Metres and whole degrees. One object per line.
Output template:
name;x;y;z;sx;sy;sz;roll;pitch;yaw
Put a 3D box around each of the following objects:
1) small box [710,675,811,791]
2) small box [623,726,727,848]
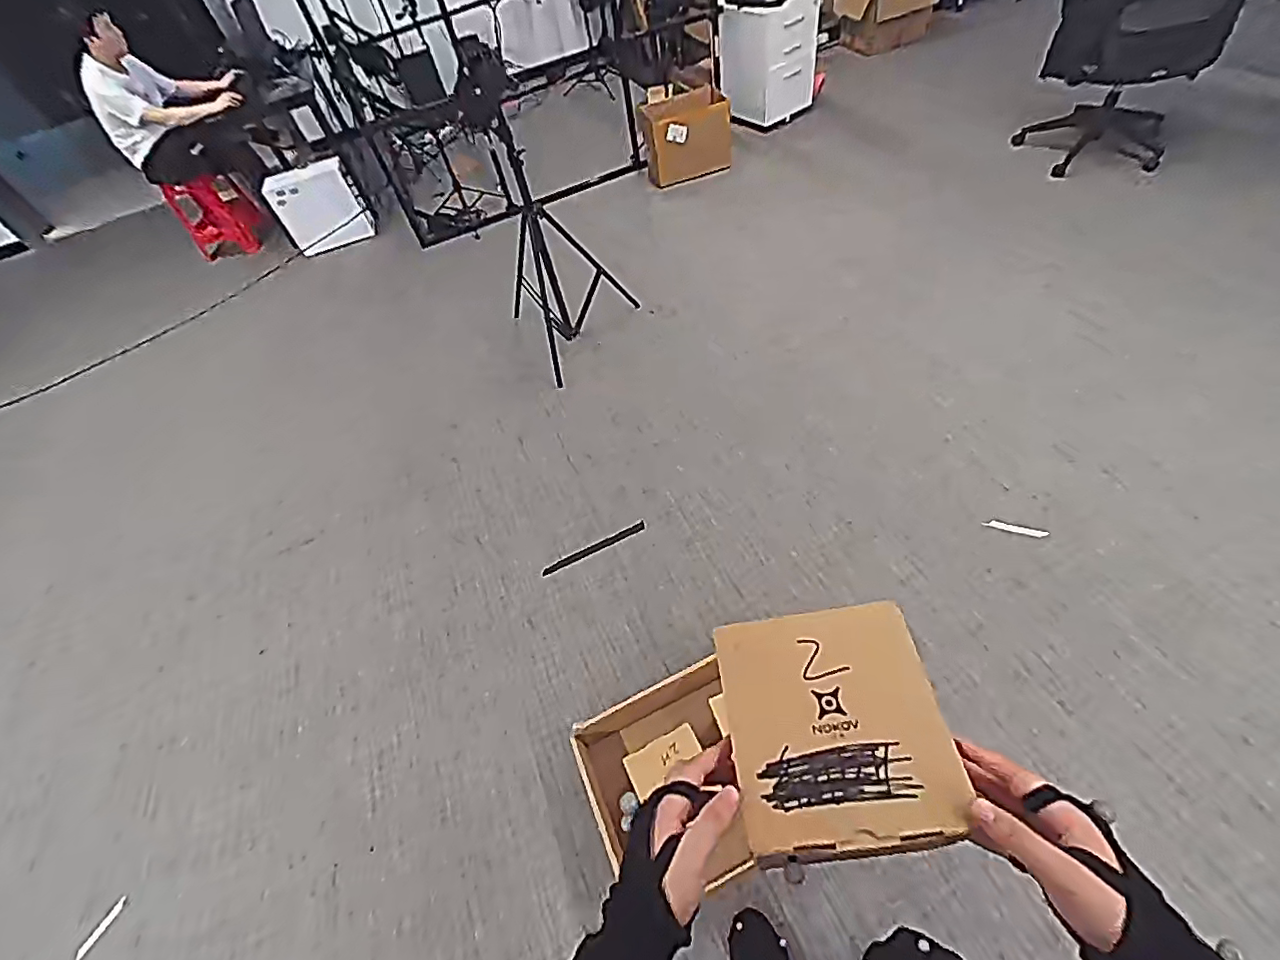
small box;0.269;0.580;1.236;0.168;0.176;0.179;-21;52;-4
small box;0.081;0.681;1.193;0.168;0.176;0.179;-25;52;-10
